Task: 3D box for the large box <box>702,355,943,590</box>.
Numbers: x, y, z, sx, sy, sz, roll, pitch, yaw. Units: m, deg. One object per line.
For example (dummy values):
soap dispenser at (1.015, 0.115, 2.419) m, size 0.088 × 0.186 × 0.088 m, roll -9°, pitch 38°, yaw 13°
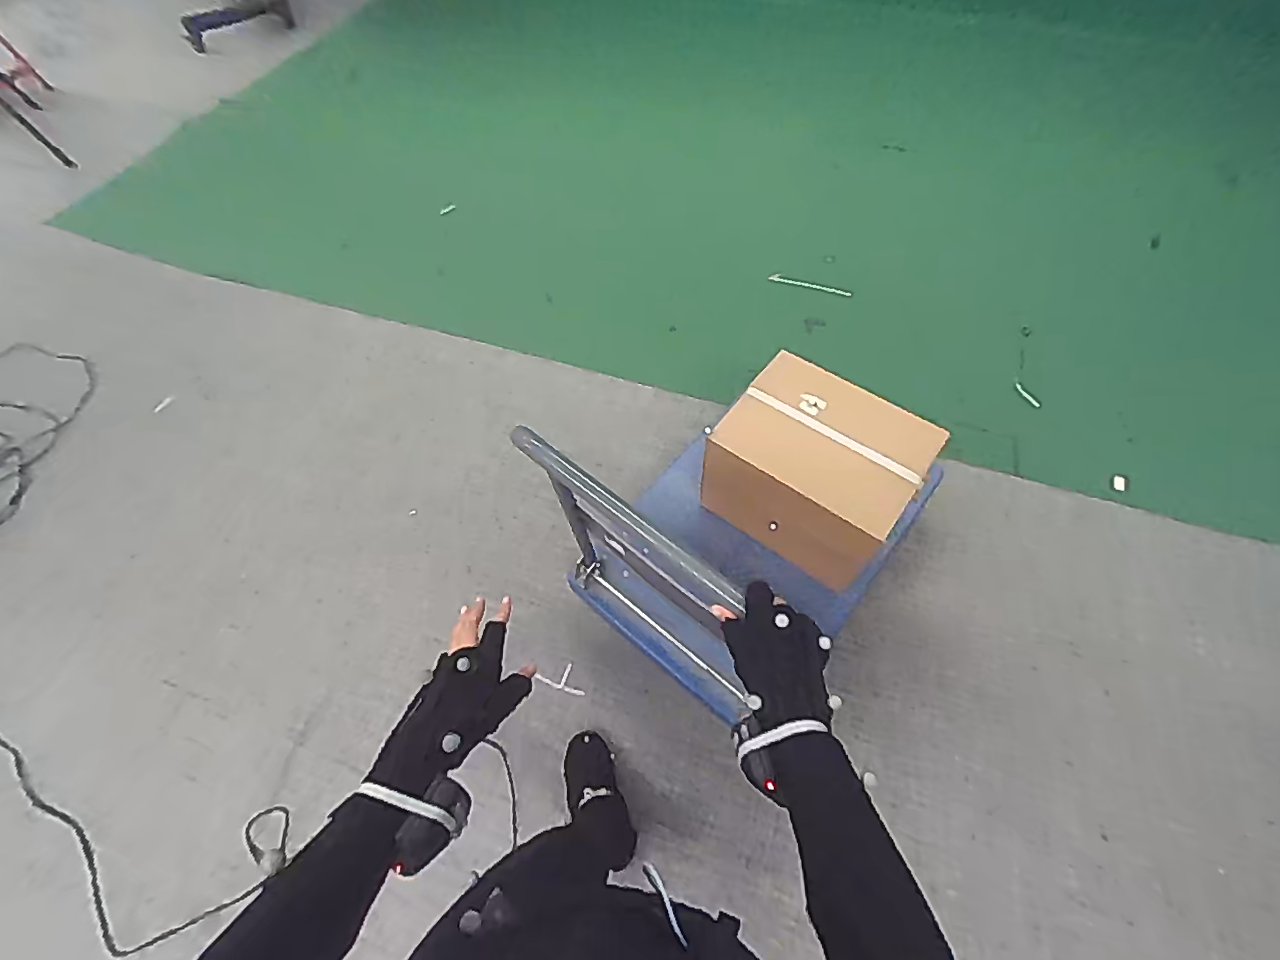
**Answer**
large box at (0.395, -0.013, 1.262) m, size 0.408 × 0.320 × 0.320 m, roll 33°, pitch 66°, yaw 22°
